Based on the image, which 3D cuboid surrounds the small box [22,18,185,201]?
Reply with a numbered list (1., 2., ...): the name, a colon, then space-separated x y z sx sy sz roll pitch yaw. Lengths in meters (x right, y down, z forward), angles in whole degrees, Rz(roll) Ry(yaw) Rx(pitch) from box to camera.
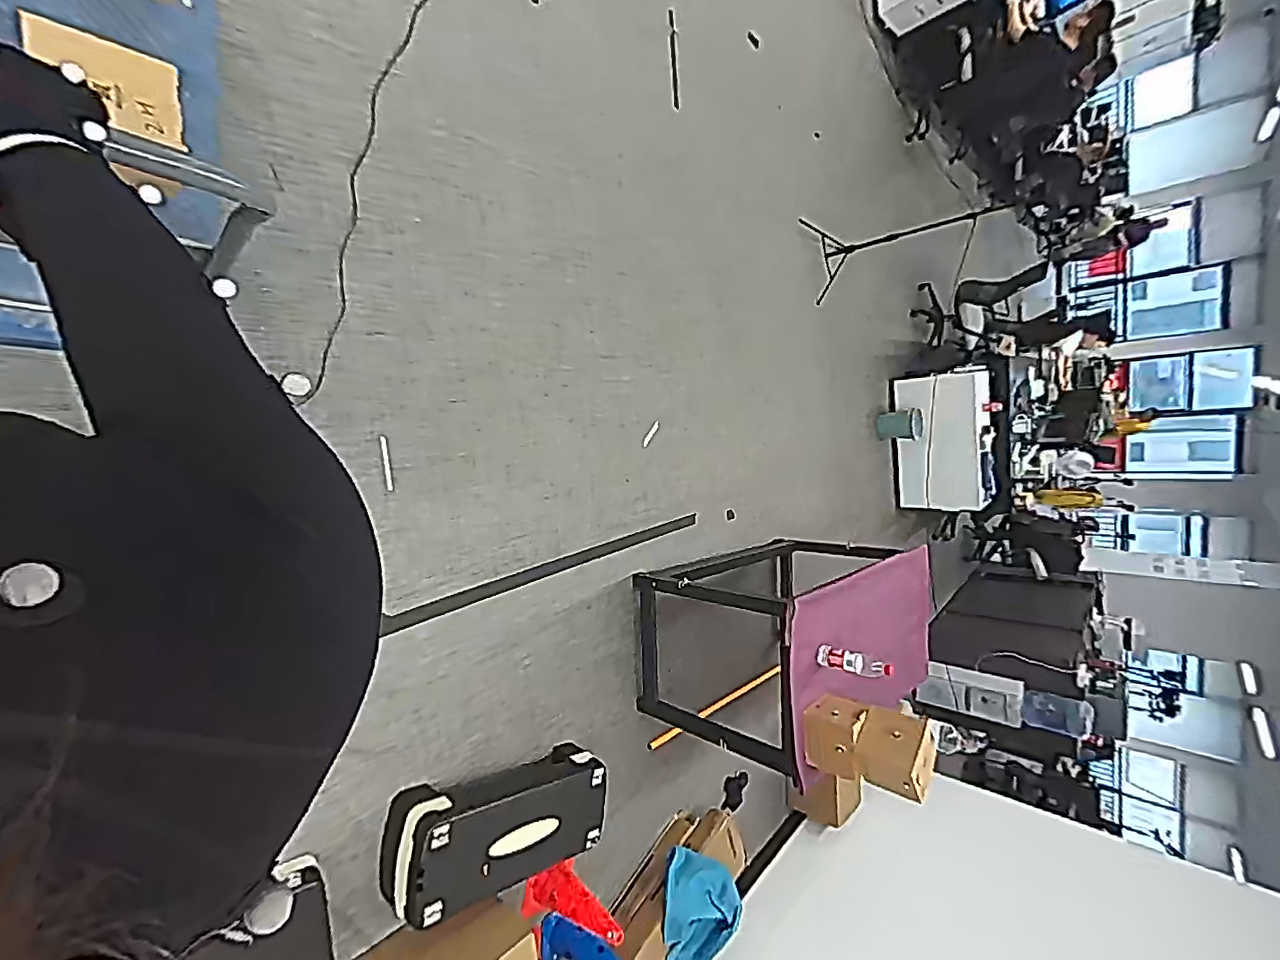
1. small box: -0.885 -0.595 0.901 0.179 0.176 0.168 -5 94 -45
